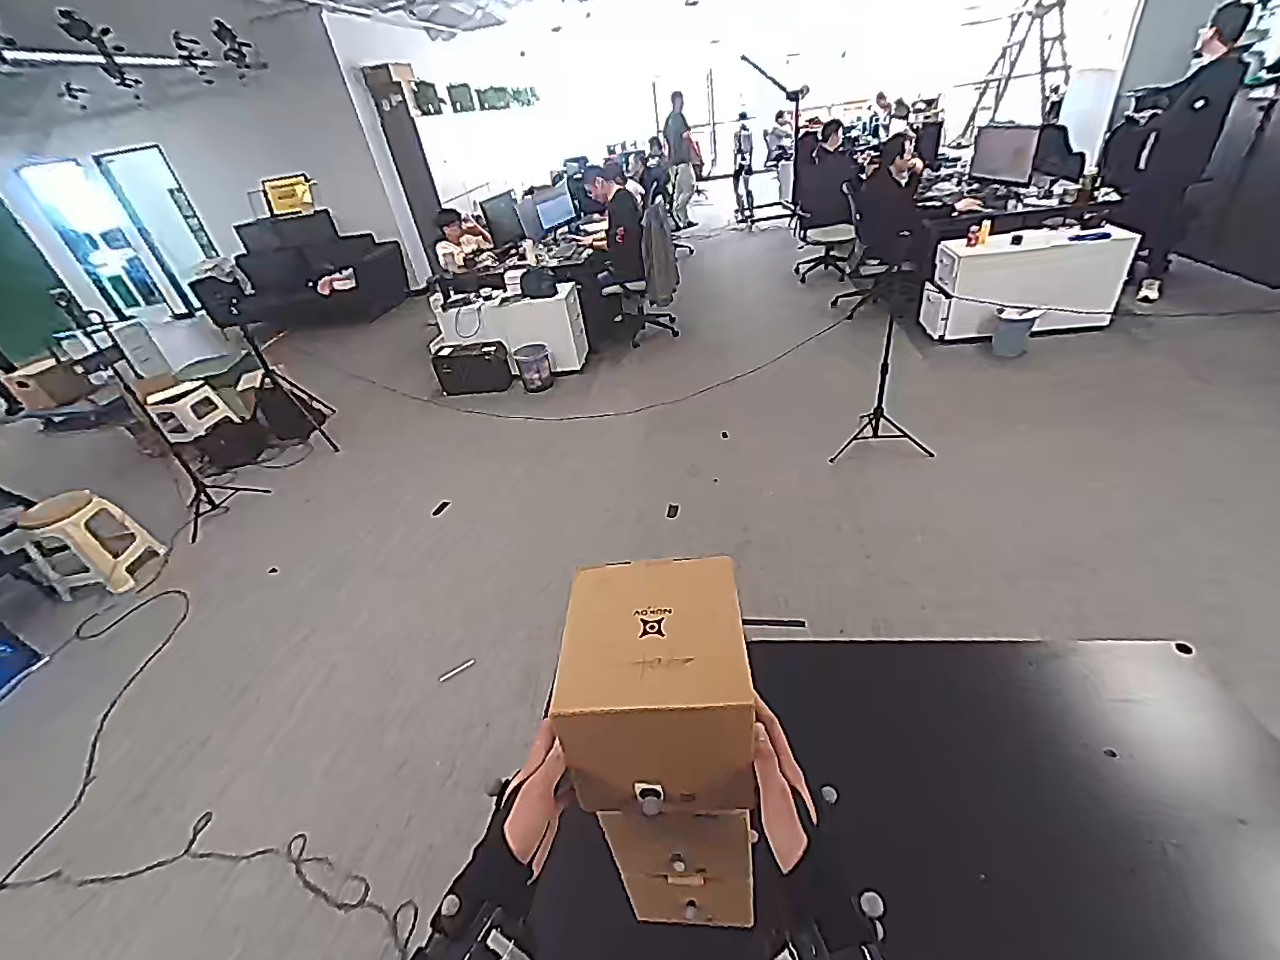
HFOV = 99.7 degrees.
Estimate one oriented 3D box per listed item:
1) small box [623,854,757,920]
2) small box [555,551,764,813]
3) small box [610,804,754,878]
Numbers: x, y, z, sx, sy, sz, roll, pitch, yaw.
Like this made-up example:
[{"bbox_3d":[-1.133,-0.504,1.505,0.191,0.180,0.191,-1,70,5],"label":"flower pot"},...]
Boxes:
[{"bbox_3d":[0.077,0.498,0.775,0.168,0.176,0.179,-4,36,8],"label":"small box"},{"bbox_3d":[0.024,0.193,0.531,0.168,0.176,0.179,-5,33,5],"label":"small box"},{"bbox_3d":[0.055,0.363,0.682,0.168,0.176,0.179,-4,35,9],"label":"small box"}]
